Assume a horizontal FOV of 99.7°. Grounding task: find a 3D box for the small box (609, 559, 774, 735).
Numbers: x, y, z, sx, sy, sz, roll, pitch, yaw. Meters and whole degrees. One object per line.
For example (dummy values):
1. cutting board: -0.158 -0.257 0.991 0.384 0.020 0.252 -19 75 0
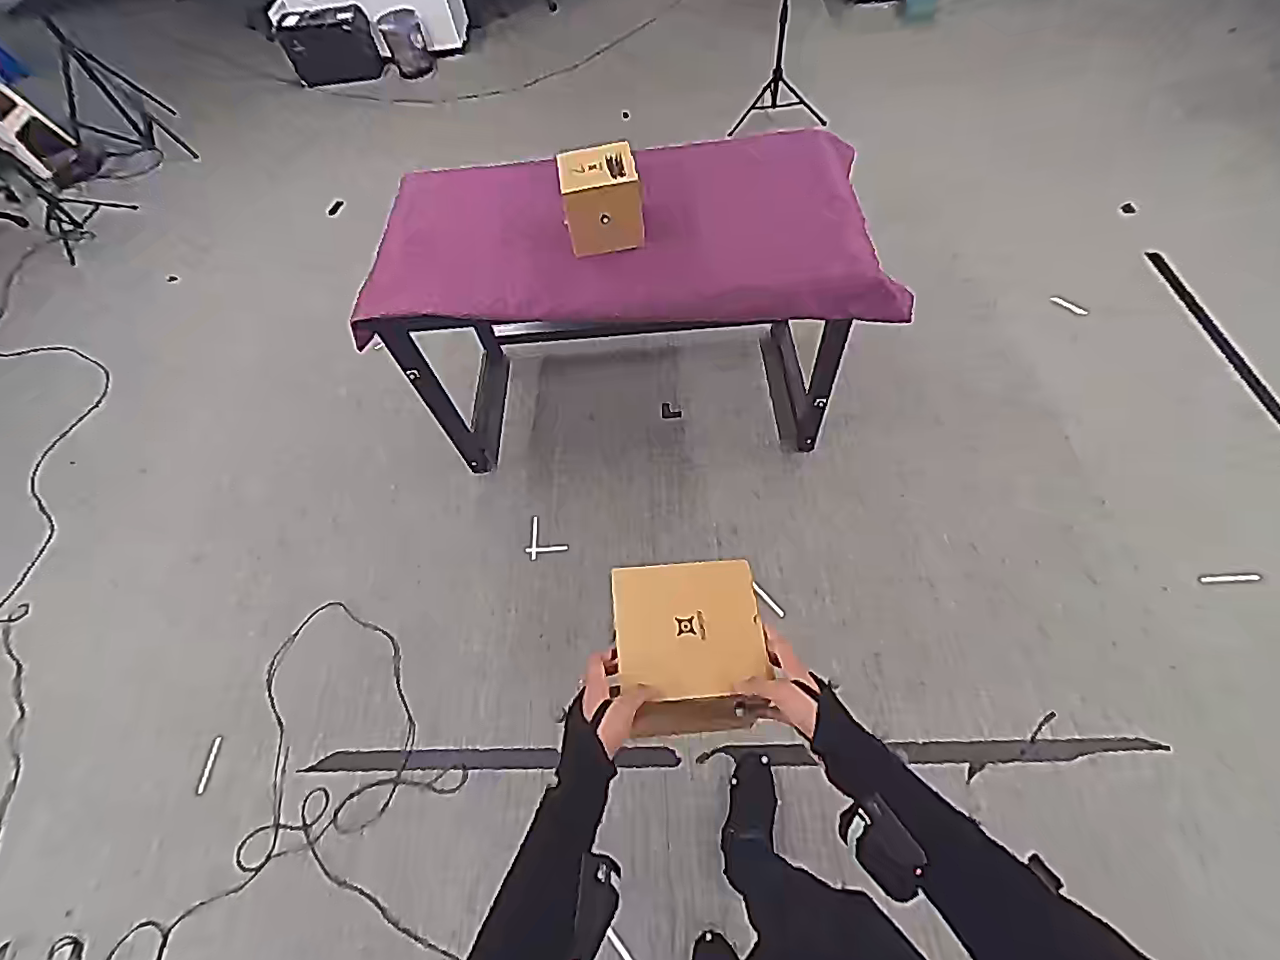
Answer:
1. small box: 0.053 0.218 0.696 0.179 0.176 0.168 -3 53 -5
